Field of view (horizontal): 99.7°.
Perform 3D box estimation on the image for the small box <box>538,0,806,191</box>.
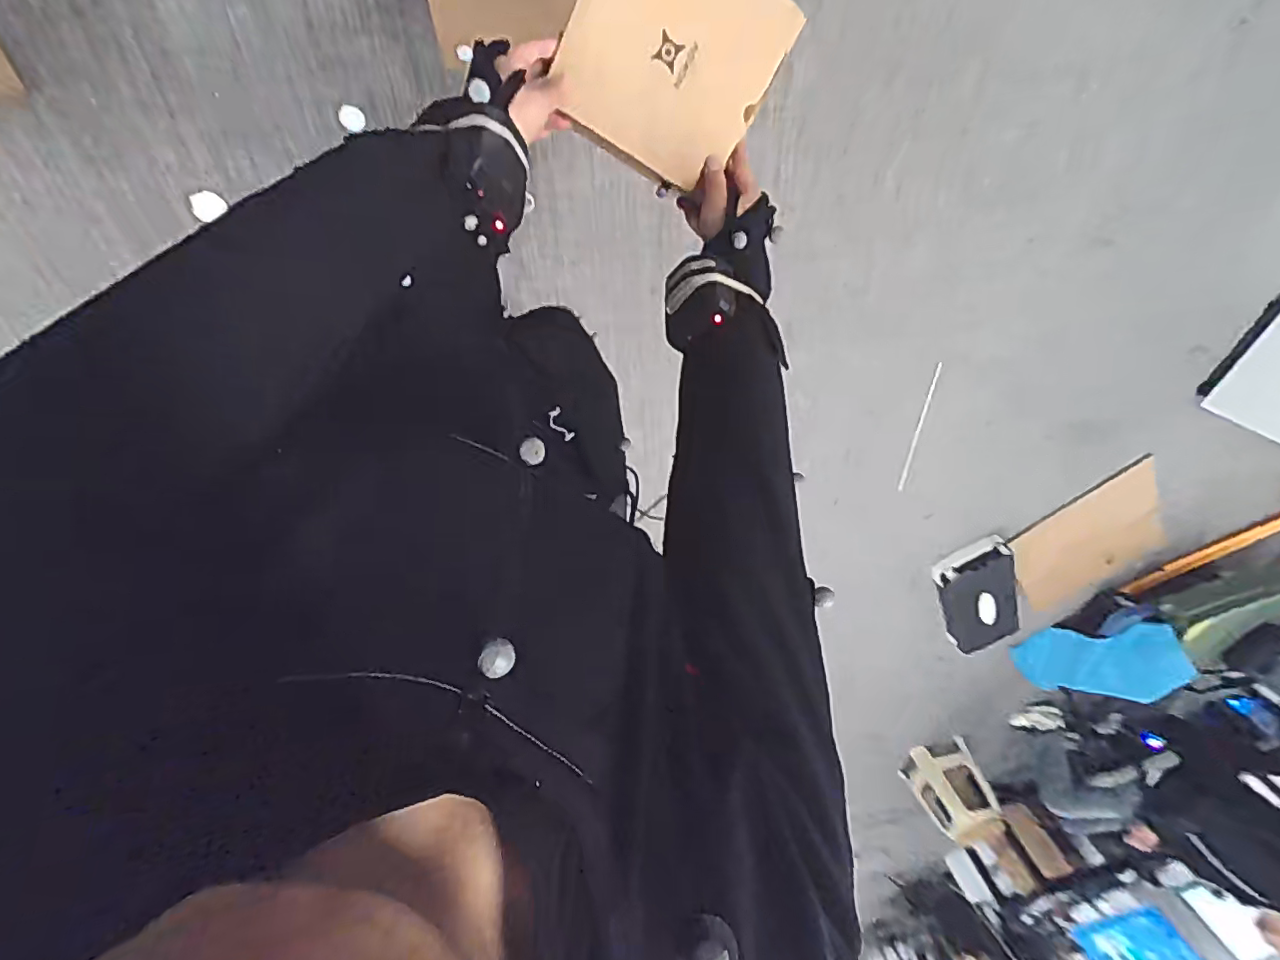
[{"bbox_3d":[0.018,-0.405,0.523,0.179,0.176,0.168,23,115,-18],"label":"small box"}]
